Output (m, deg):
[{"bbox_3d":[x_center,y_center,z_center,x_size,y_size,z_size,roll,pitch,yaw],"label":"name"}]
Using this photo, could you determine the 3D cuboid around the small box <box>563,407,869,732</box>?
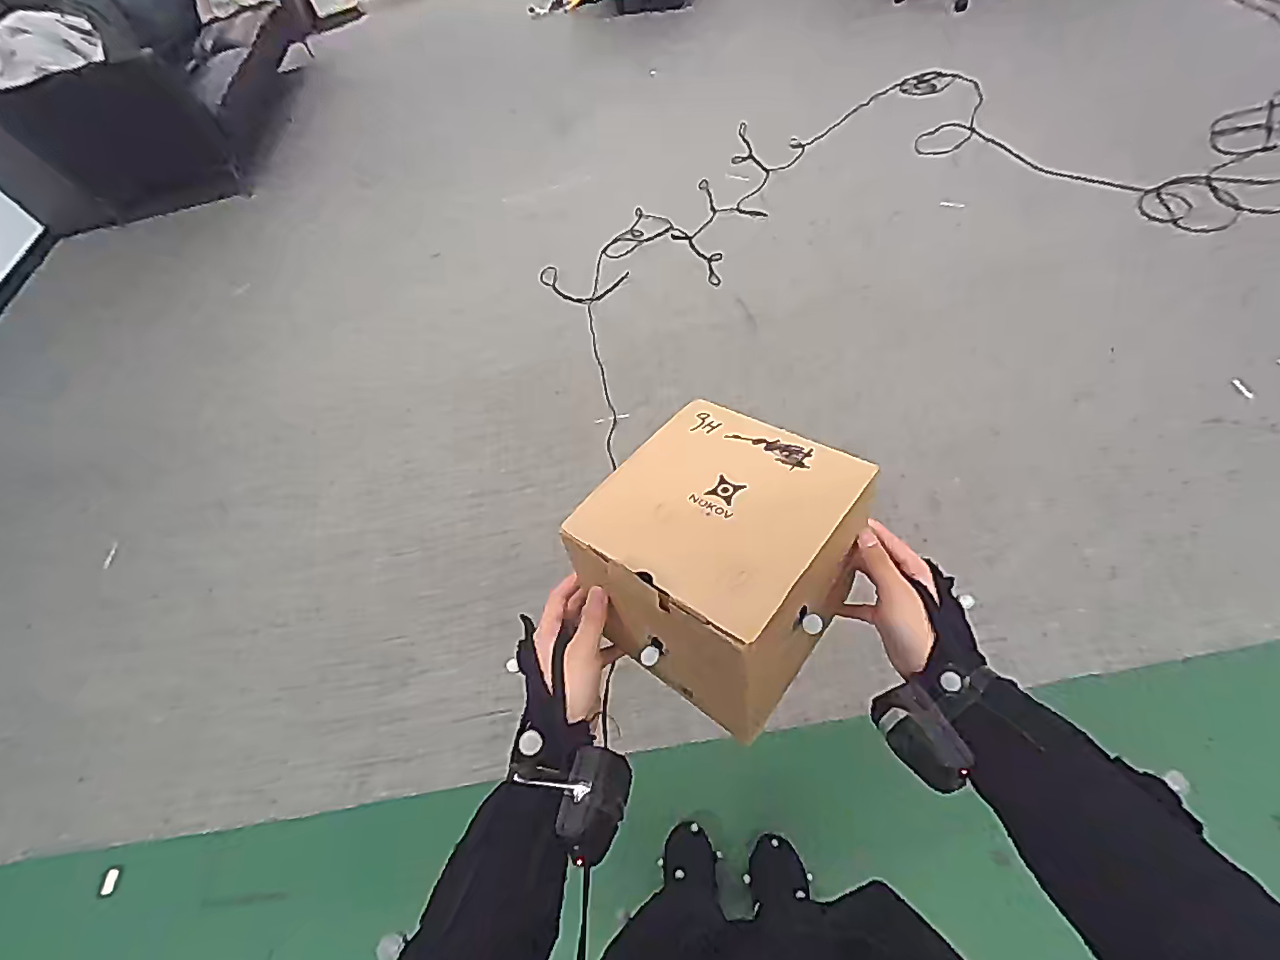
[{"bbox_3d":[0.069,0.074,0.457,0.168,0.176,0.179,28,58,32],"label":"small box"}]
